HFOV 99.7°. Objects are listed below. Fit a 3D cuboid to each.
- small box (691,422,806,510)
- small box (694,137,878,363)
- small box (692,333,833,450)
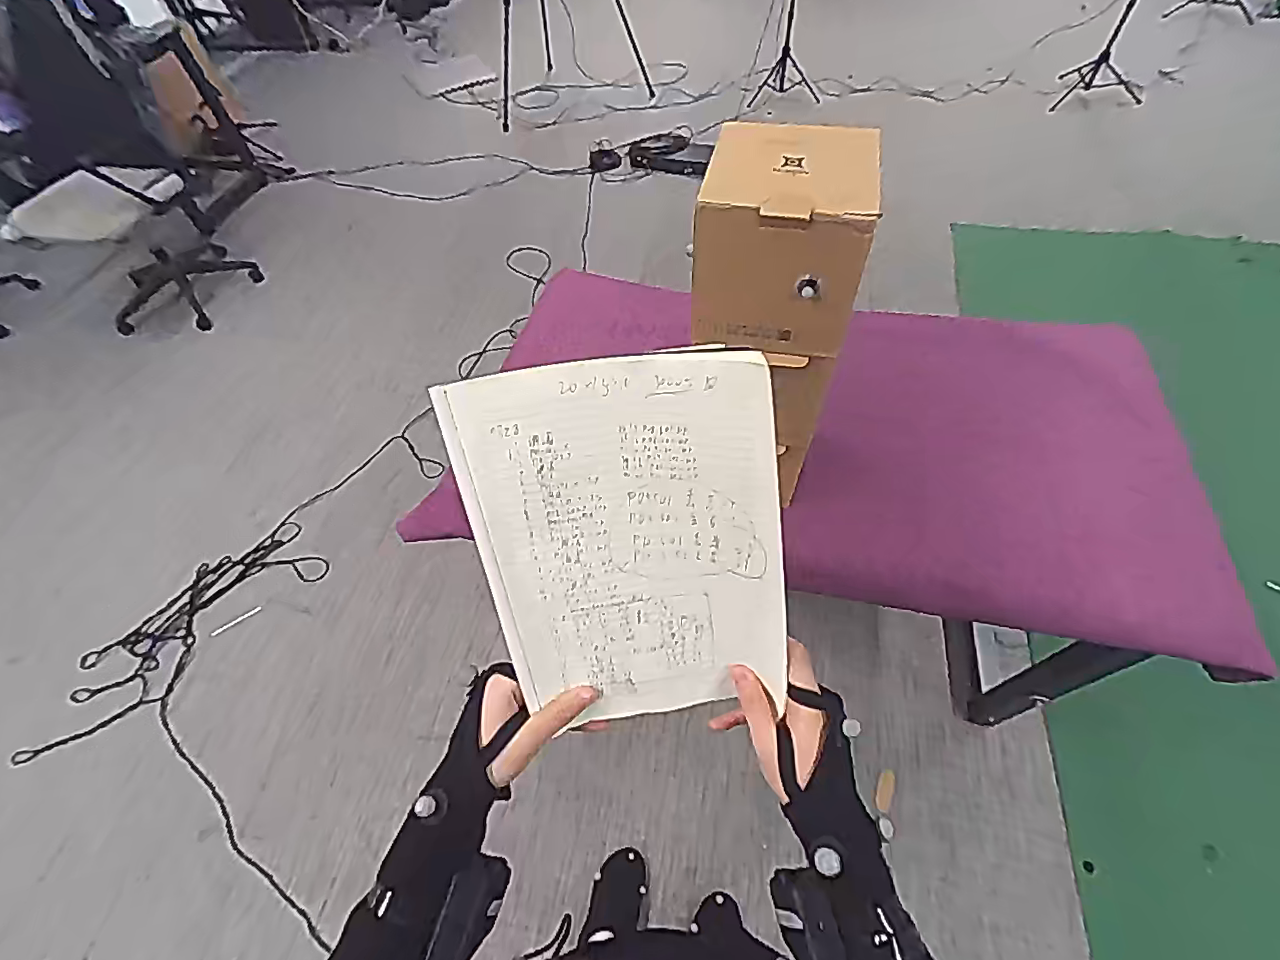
[{"bbox_3d":[0.179,-0.071,0.879,0.168,0.176,0.179,9,56,10],"label":"small box"},{"bbox_3d":[0.157,-0.254,0.607,0.168,0.176,0.179,10,55,11],"label":"small box"},{"bbox_3d":[0.168,-0.163,0.742,0.168,0.176,0.179,9,54,11],"label":"small box"}]
